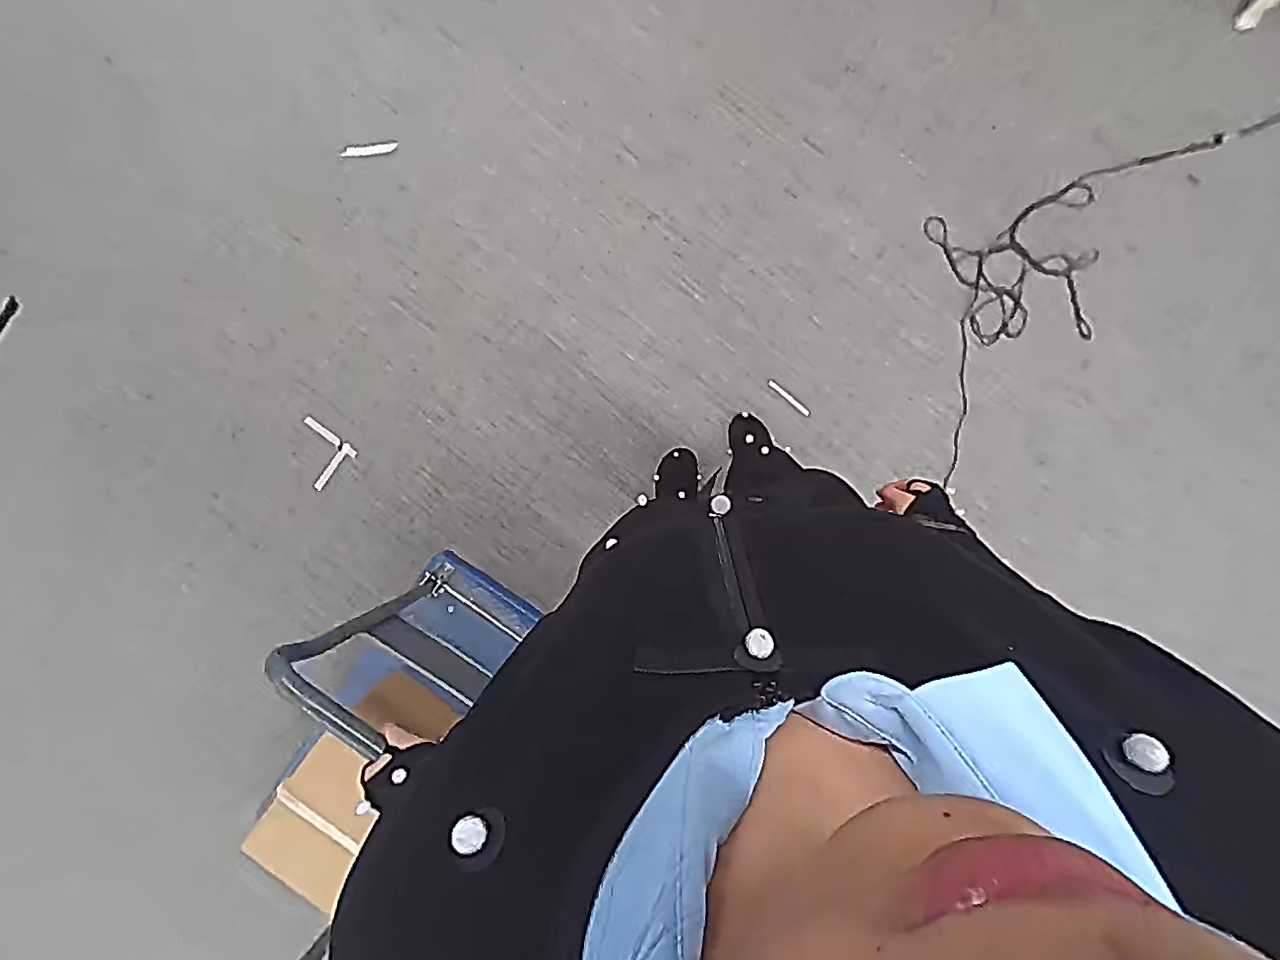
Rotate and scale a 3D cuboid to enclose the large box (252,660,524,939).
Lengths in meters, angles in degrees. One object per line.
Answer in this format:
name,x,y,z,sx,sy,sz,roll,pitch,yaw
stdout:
large box,-0.540,0.694,1.238,0.408,0.320,0.320,37,94,-2
